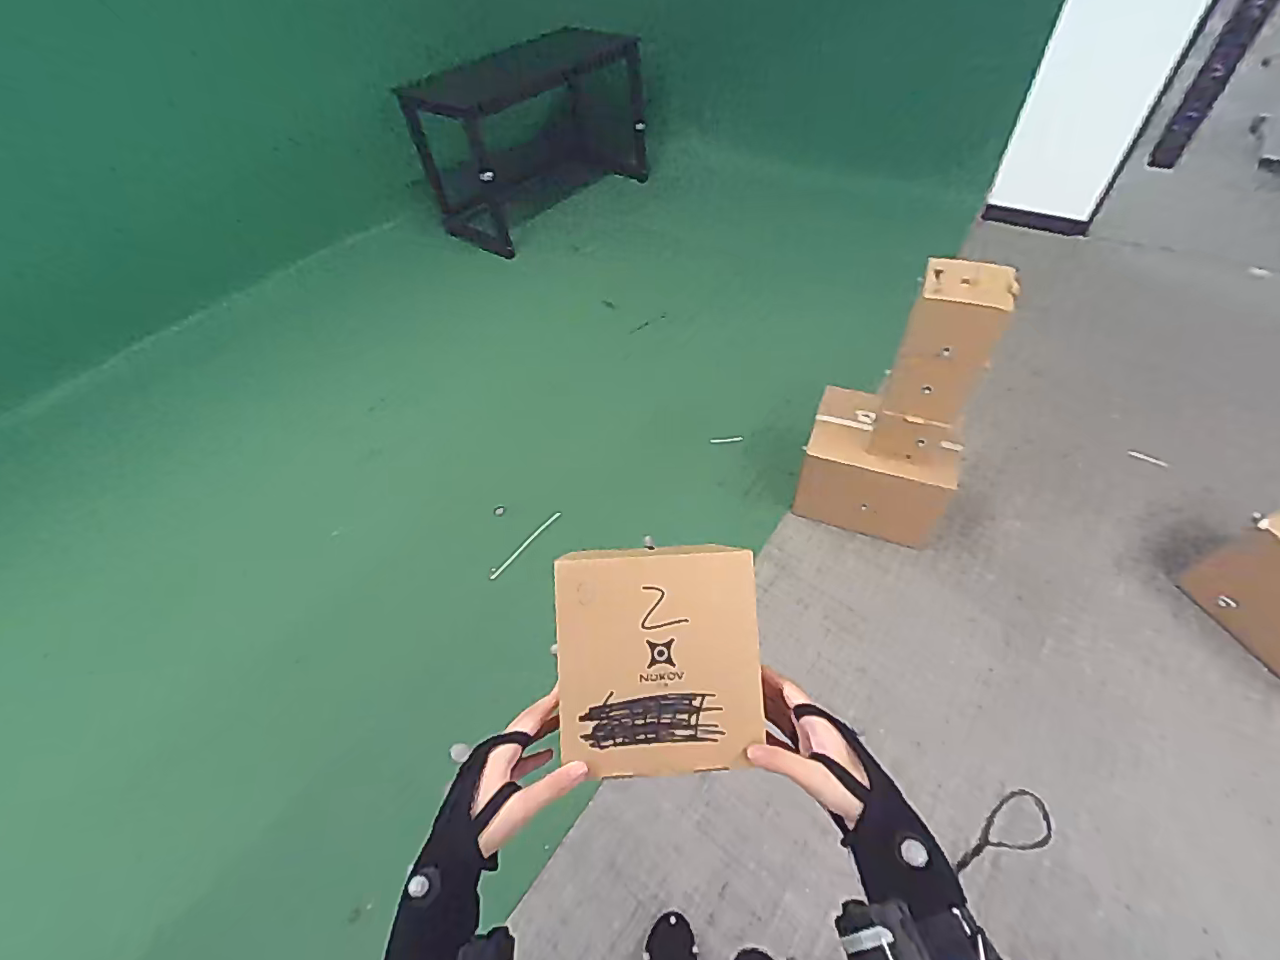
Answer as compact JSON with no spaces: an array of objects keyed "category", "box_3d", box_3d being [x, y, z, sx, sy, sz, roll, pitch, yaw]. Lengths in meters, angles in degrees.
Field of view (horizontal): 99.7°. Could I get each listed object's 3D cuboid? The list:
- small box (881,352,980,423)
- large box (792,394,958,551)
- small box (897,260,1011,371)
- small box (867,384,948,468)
[{"category":"small box","box_3d":[0.729,-0.265,1.362,0.179,0.176,0.168,15,54,18]},{"category":"large box","box_3d":[0.726,-0.025,1.695,0.408,0.320,0.320,14,52,19]},{"category":"small box","box_3d":[0.714,-0.372,1.238,0.179,0.176,0.168,16,54,17]},{"category":"small box","box_3d":[0.738,-0.160,1.488,0.168,0.176,0.179,16,54,18]}]
